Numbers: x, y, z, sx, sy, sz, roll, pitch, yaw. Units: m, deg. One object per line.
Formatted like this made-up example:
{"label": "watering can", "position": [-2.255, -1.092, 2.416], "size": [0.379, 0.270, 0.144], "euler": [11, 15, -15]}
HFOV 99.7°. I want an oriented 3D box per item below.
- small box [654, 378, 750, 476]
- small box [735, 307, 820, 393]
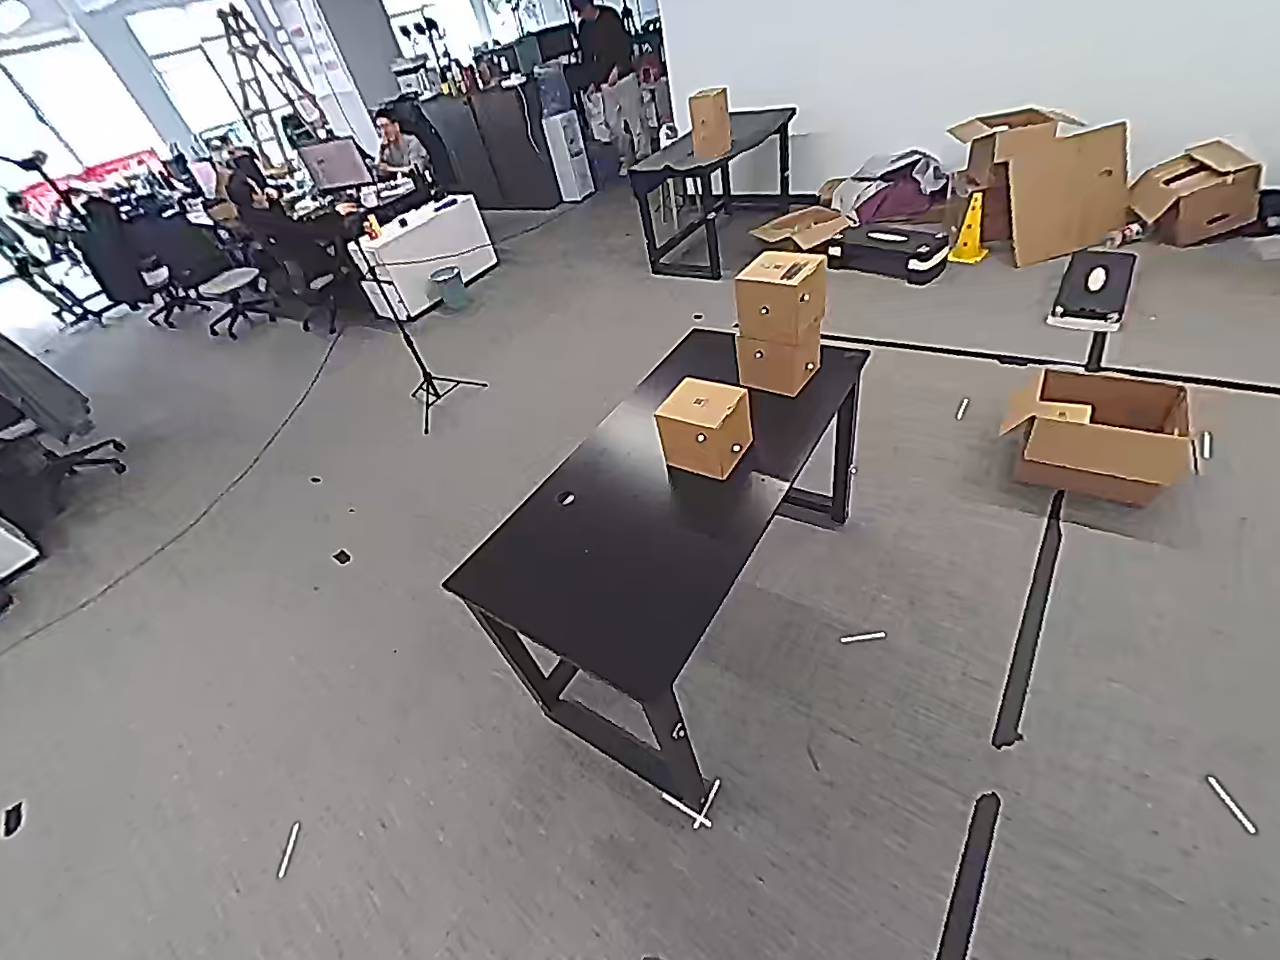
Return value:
{"label": "small box", "position": [0.161, -0.133, 1.359], "size": [0.179, 0.176, 0.168], "euler": [17, 52, 31]}
{"label": "small box", "position": [0.392, -0.367, 1.533], "size": [0.179, 0.176, 0.168], "euler": [22, 55, 34]}
